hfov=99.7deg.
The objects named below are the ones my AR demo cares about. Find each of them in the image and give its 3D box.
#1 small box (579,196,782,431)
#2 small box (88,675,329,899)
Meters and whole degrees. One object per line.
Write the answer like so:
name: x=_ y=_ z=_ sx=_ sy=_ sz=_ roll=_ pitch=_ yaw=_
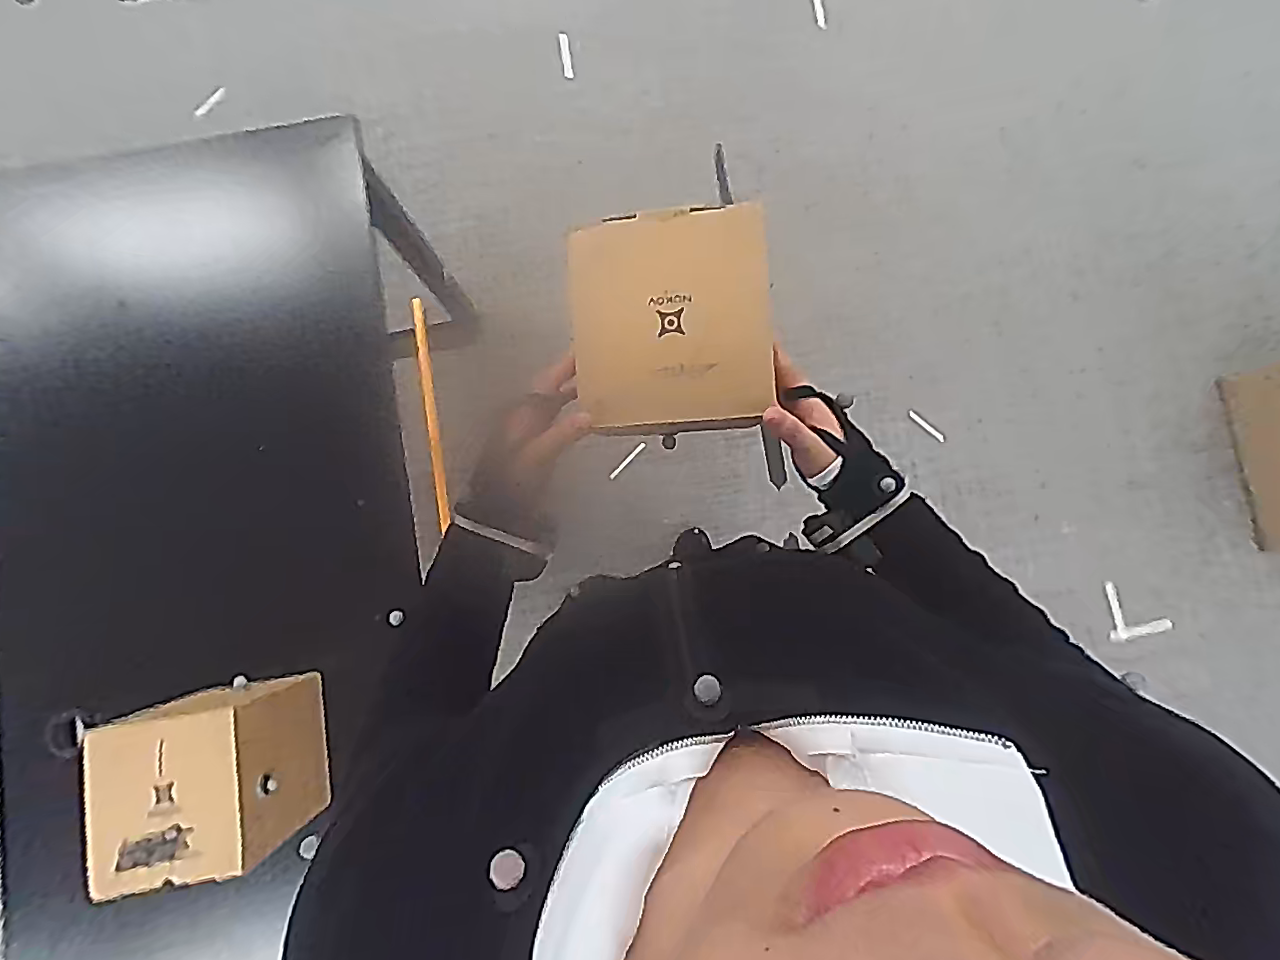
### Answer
small box: x=0.039 y=-0.144 z=0.527 sx=0.168 sy=0.176 sz=0.179 roll=-3 pitch=92 yaw=6
small box: x=-0.510 y=0.359 z=0.664 sx=0.168 sy=0.176 sz=0.179 roll=-9 pitch=83 yaw=-1
